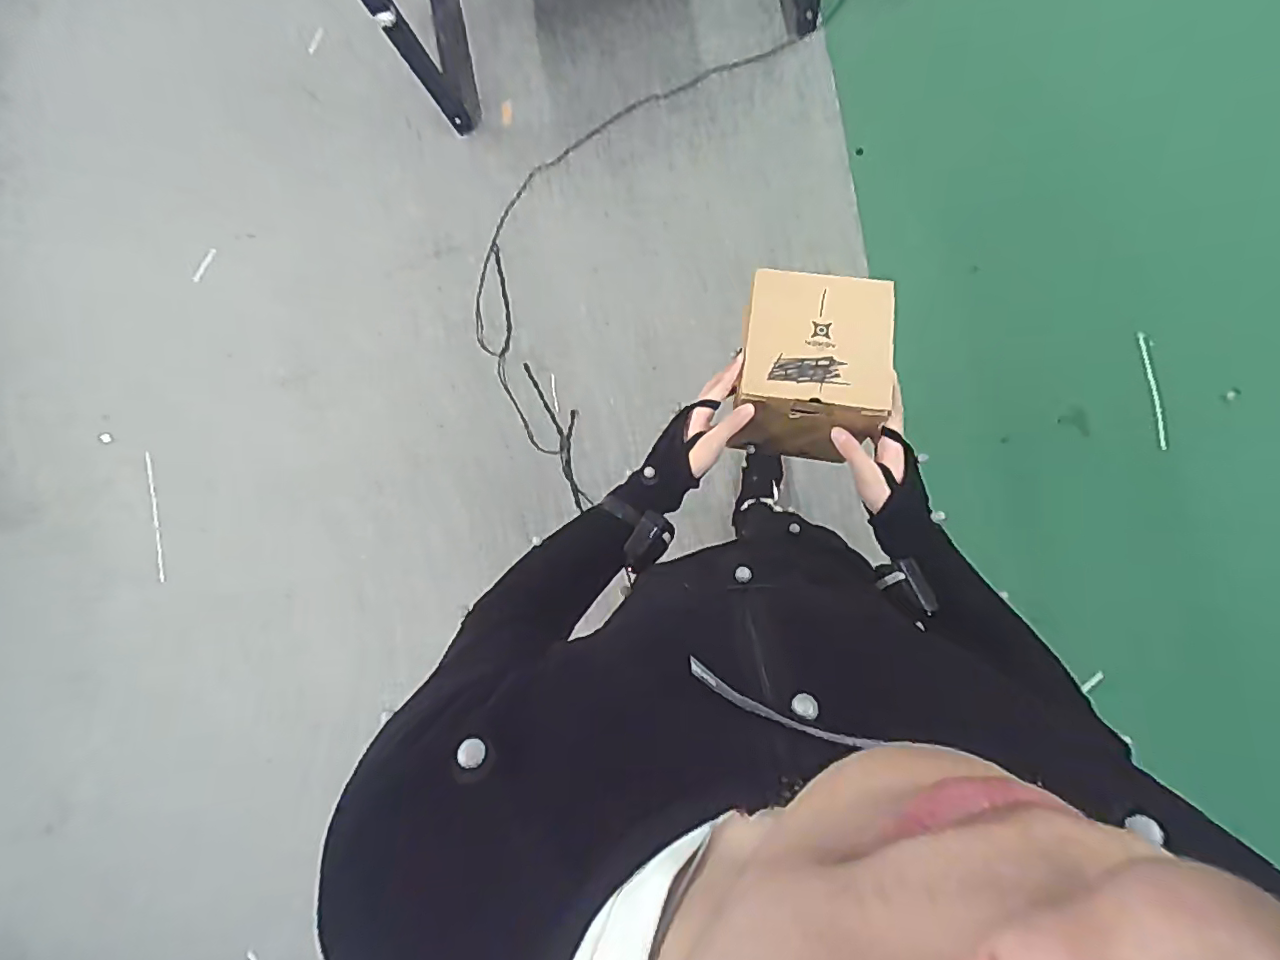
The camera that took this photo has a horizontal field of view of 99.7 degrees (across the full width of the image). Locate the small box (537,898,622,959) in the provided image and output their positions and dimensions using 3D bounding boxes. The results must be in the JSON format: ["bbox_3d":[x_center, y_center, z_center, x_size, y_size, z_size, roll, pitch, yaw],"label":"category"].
[{"bbox_3d":[-0.151,1.214,1.385,0.179,0.176,0.168,-3,87,9],"label":"small box"}]

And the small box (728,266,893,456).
[{"bbox_3d":[0.210,-0.144,0.700,0.168,0.176,0.179,8,73,6],"label":"small box"}]
